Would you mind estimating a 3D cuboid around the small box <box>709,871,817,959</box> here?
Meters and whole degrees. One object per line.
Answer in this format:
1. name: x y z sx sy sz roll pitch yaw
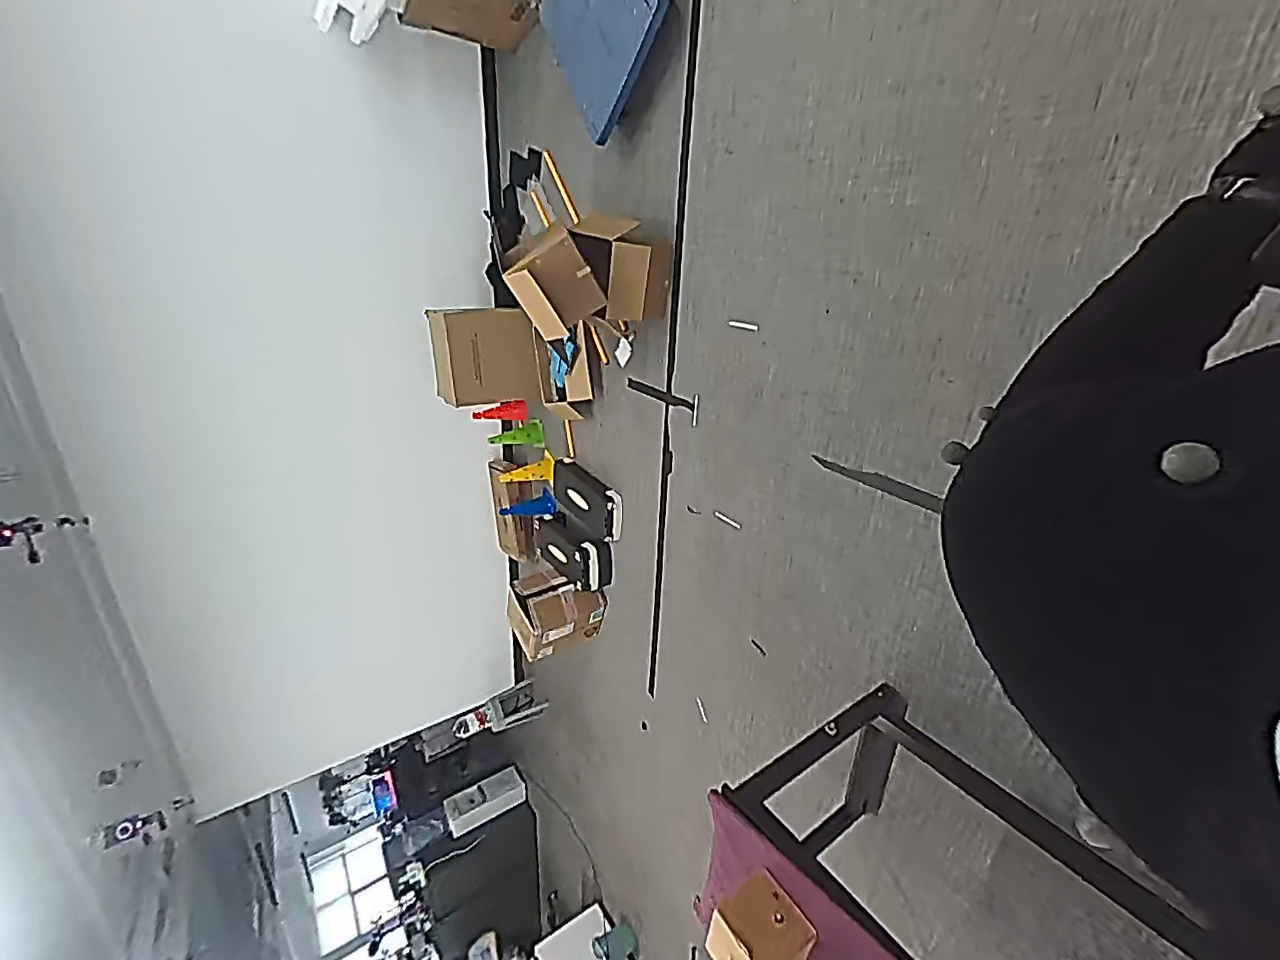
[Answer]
1. small box: 0.285 1.071 1.256 0.168 0.176 0.179 35 130 46
